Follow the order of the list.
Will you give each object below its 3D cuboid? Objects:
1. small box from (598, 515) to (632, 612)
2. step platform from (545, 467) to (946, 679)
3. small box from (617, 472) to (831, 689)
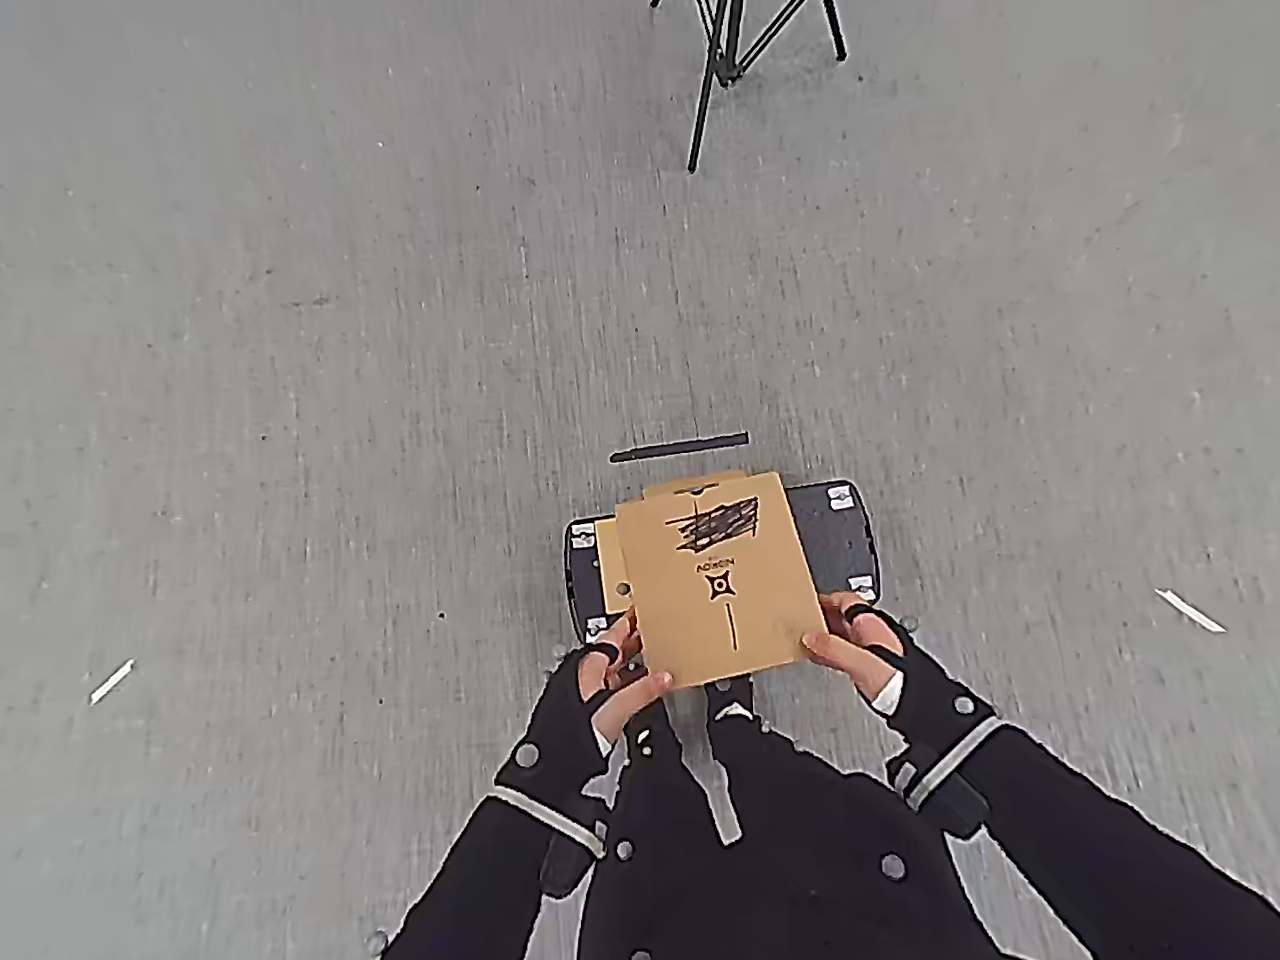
[{"bbox_3d":[0.010,0.161,1.071,0.168,0.176,0.179,-9,78,1],"label":"small box"},{"bbox_3d":[0.177,0.177,1.025,0.684,0.204,0.286,-9,78,0],"label":"step platform"},{"bbox_3d":[0.072,0.112,0.571,0.168,0.176,0.179,-12,72,-4],"label":"small box"}]
